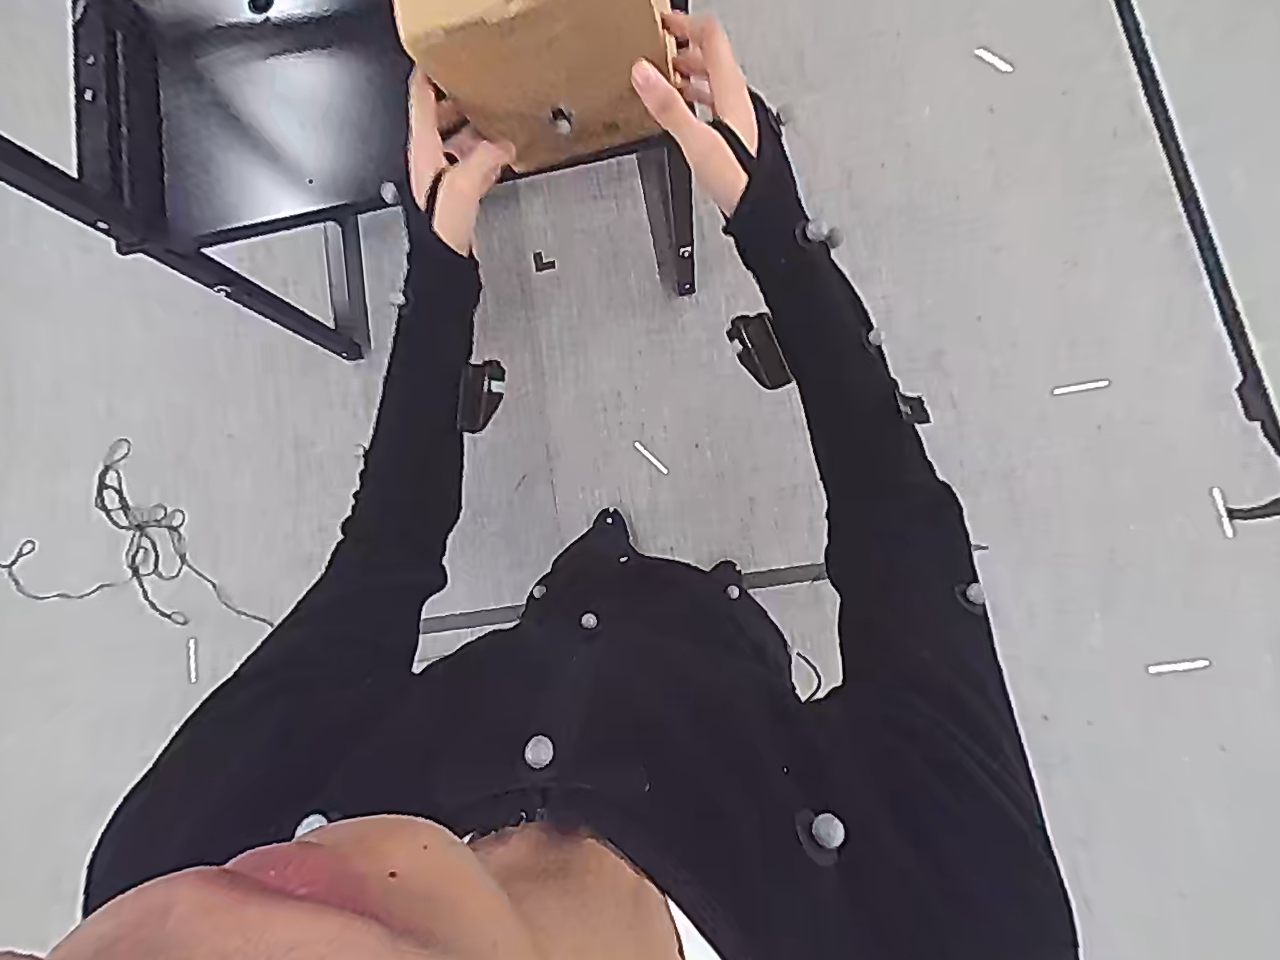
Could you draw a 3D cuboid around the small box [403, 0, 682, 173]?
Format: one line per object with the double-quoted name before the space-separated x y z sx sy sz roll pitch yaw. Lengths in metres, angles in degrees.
"small box" -0.067 -0.382 0.420 0.168 0.176 0.179 -8 92 13
